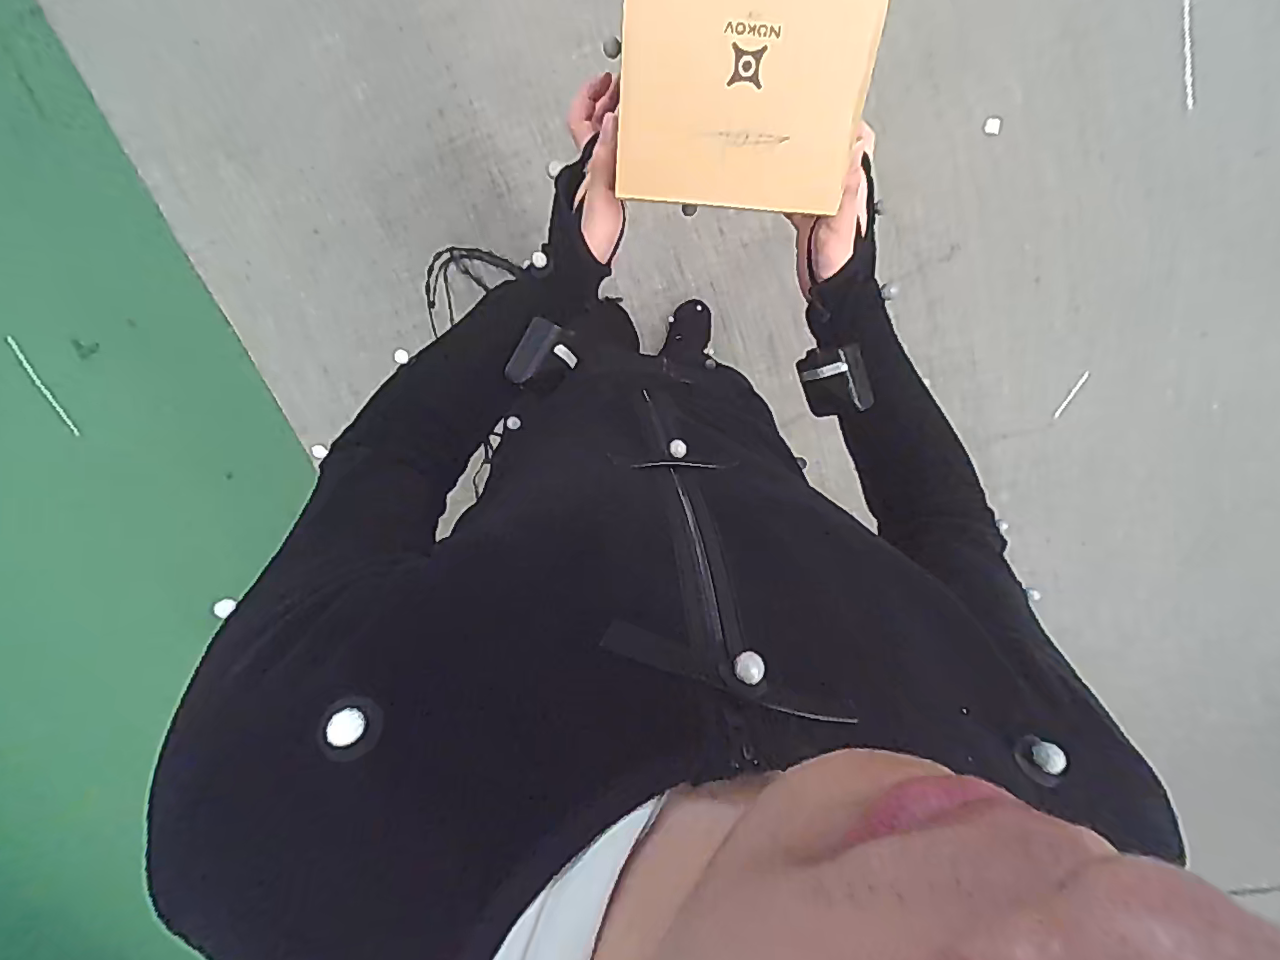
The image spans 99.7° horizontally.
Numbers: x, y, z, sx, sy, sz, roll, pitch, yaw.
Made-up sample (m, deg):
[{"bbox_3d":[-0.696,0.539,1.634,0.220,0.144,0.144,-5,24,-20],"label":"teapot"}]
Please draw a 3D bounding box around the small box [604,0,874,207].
[{"bbox_3d":[0.062,-0.318,0.415,0.168,0.176,0.179,4,122,0],"label":"small box"}]
